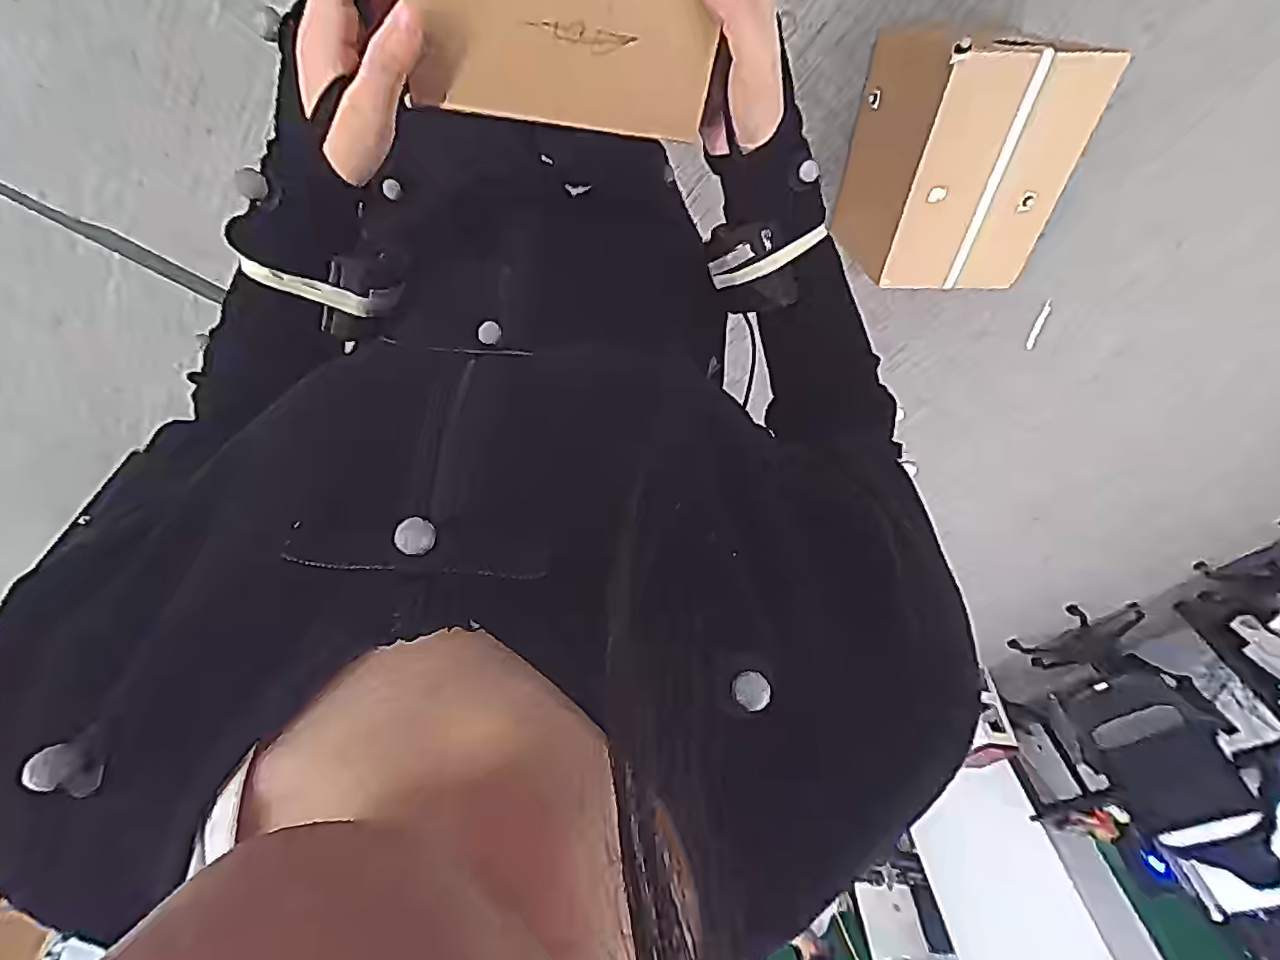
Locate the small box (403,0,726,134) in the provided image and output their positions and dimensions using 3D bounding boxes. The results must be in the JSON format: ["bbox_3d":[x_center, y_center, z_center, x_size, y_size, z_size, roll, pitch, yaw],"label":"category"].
[{"bbox_3d":[-0.044,-0.330,0.301,0.168,0.176,0.179,-1,139,-15],"label":"small box"}]

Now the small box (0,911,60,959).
[{"bbox_3d":[-1.326,0.982,1.086,0.179,0.176,0.168,24,127,-28],"label":"small box"}]

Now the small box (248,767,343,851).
[{"bbox_3d":[-0.986,0.949,1.560,0.168,0.176,0.179,28,126,-30],"label":"small box"}]
